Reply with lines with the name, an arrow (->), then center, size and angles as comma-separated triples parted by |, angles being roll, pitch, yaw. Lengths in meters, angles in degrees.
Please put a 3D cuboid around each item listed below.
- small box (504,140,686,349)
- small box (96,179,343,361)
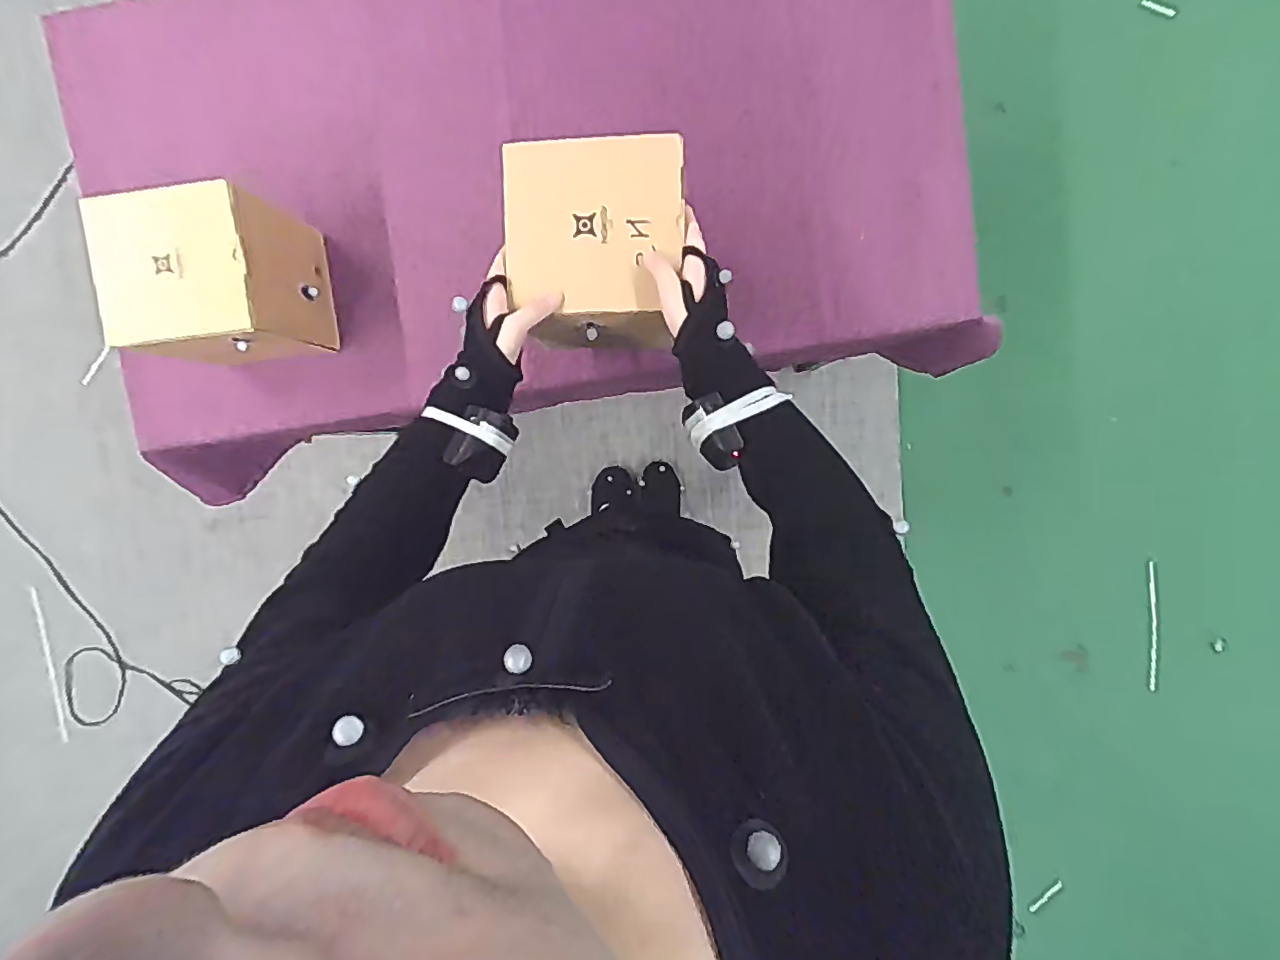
small box -> -0.038, -0.243, 0.599 | 0.179, 0.176, 0.168 | 0, 93, 4
small box -> -0.521, -0.253, 0.694 | 0.179, 0.176, 0.168 | -6, 94, 3
